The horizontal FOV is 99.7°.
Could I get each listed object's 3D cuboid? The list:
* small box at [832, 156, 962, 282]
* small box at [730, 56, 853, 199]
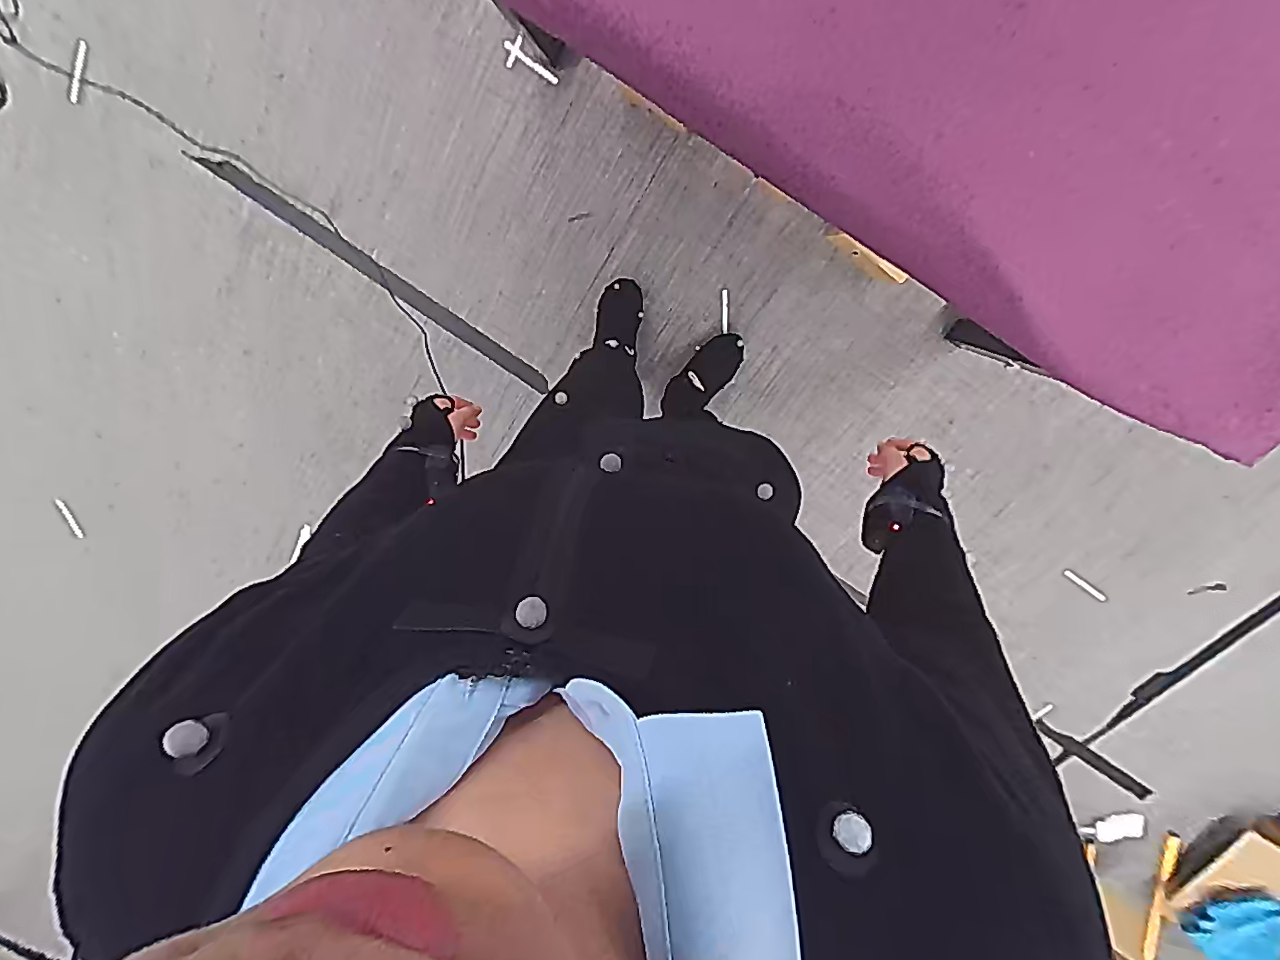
[{"bbox_3d":[0.539,-0.553,1.168,0.168,0.176,0.179,36,110,-9],"label":"small box"},{"bbox_3d":[0.302,-0.713,1.121,0.168,0.176,0.179,33,111,-9],"label":"small box"}]
